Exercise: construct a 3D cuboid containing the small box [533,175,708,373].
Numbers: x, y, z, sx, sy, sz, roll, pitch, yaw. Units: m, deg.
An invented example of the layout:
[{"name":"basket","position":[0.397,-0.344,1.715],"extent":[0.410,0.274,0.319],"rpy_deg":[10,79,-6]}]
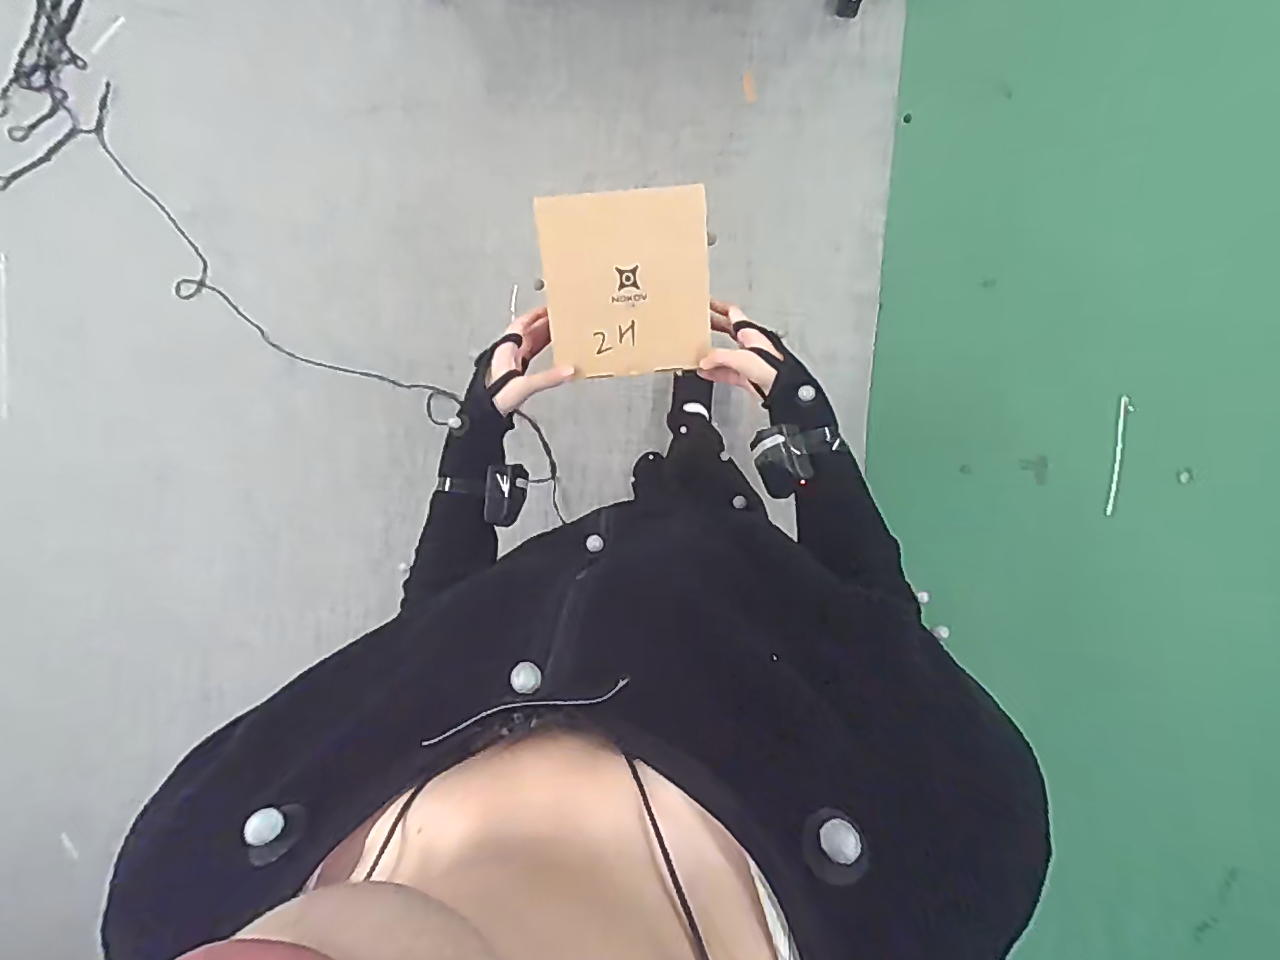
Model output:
[{"name":"small box","position":[-0.022,-0.223,0.607],"extent":[0.168,0.176,0.179],"rpy_deg":[-5,109,-3]}]
